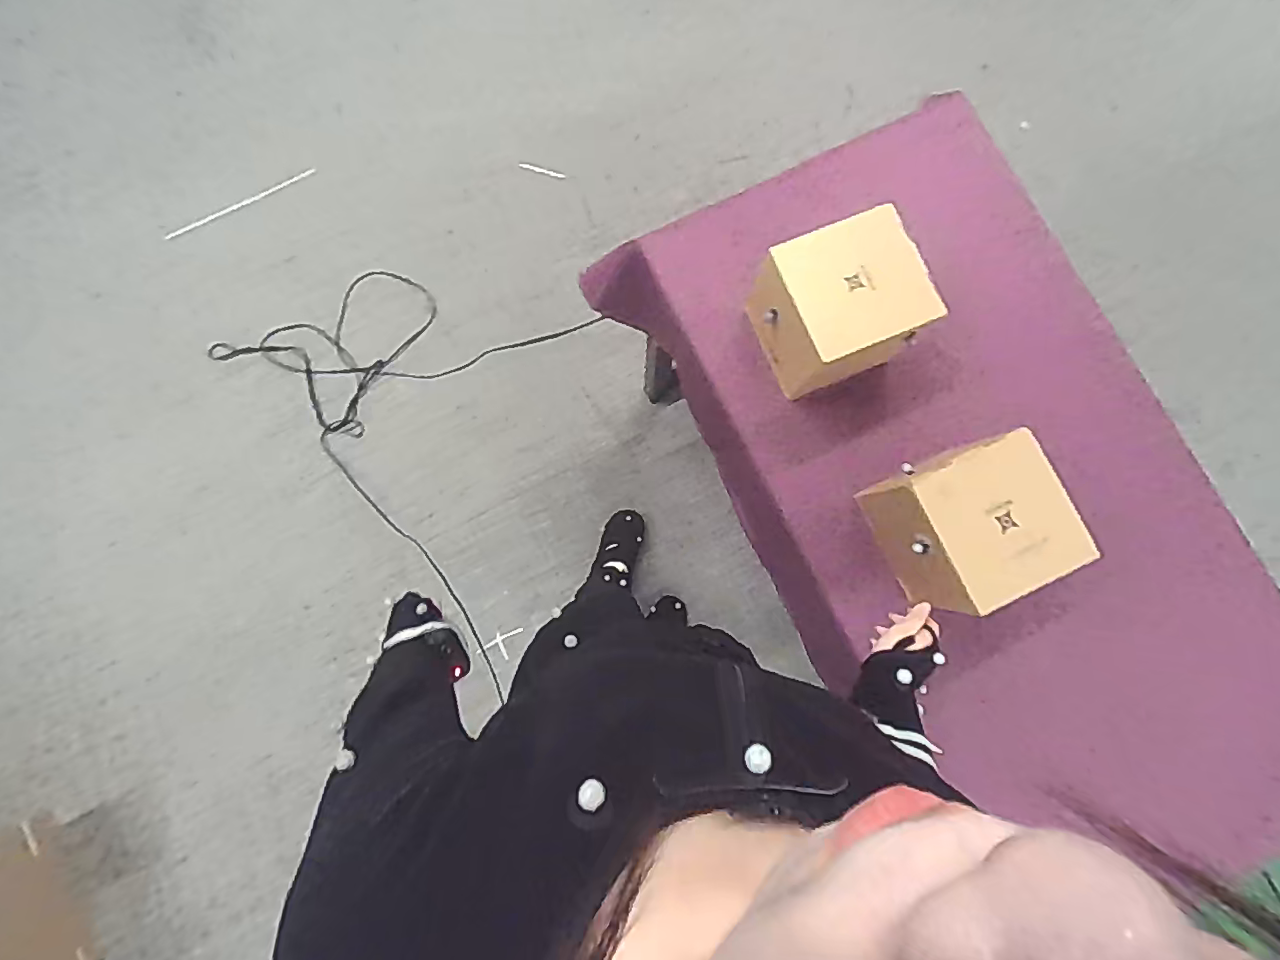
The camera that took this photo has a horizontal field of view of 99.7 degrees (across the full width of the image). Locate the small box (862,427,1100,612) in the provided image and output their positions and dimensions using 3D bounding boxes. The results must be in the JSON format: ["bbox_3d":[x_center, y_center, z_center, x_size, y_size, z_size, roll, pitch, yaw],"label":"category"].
[{"bbox_3d":[0.426,0.055,0.712,0.168,0.176,0.179,-24,83,-3],"label":"small box"}]

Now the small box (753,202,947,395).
[{"bbox_3d":[0.272,-0.238,0.752,0.179,0.176,0.168,-22,83,-4],"label":"small box"}]
